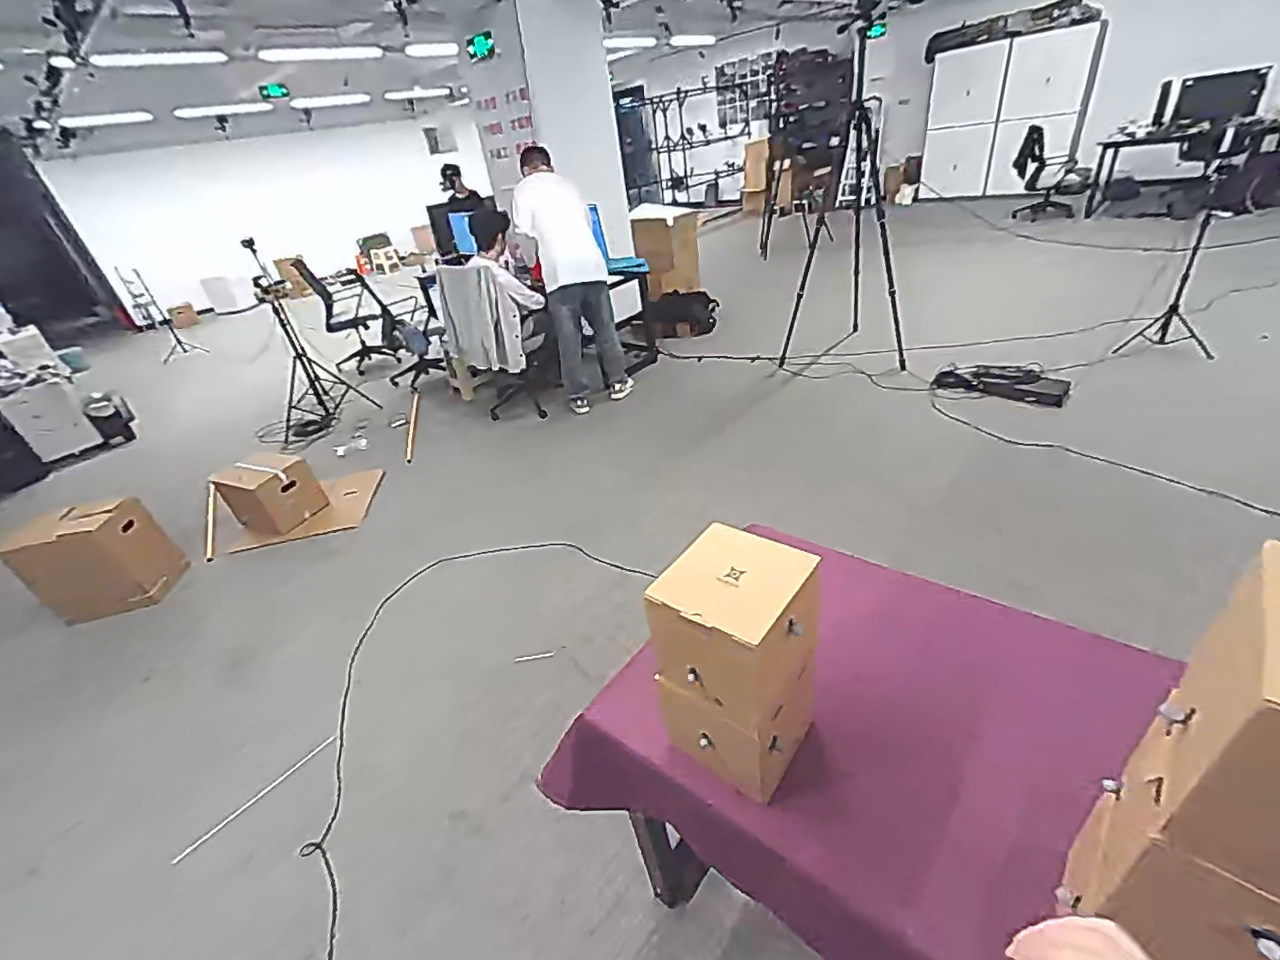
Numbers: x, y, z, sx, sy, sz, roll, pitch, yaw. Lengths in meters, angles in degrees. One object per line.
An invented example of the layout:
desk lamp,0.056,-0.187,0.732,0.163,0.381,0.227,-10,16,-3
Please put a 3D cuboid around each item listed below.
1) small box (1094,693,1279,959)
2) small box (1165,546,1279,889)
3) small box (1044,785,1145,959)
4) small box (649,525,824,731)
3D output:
small box,0.509,0.322,0.438,0.179,0.176,0.168,21,44,38
small box,0.489,0.180,0.357,0.168,0.176,0.179,21,44,39
small box,0.525,0.459,0.529,0.168,0.176,0.179,20,43,38
small box,0.135,0.195,0.740,0.168,0.176,0.179,17,42,36
